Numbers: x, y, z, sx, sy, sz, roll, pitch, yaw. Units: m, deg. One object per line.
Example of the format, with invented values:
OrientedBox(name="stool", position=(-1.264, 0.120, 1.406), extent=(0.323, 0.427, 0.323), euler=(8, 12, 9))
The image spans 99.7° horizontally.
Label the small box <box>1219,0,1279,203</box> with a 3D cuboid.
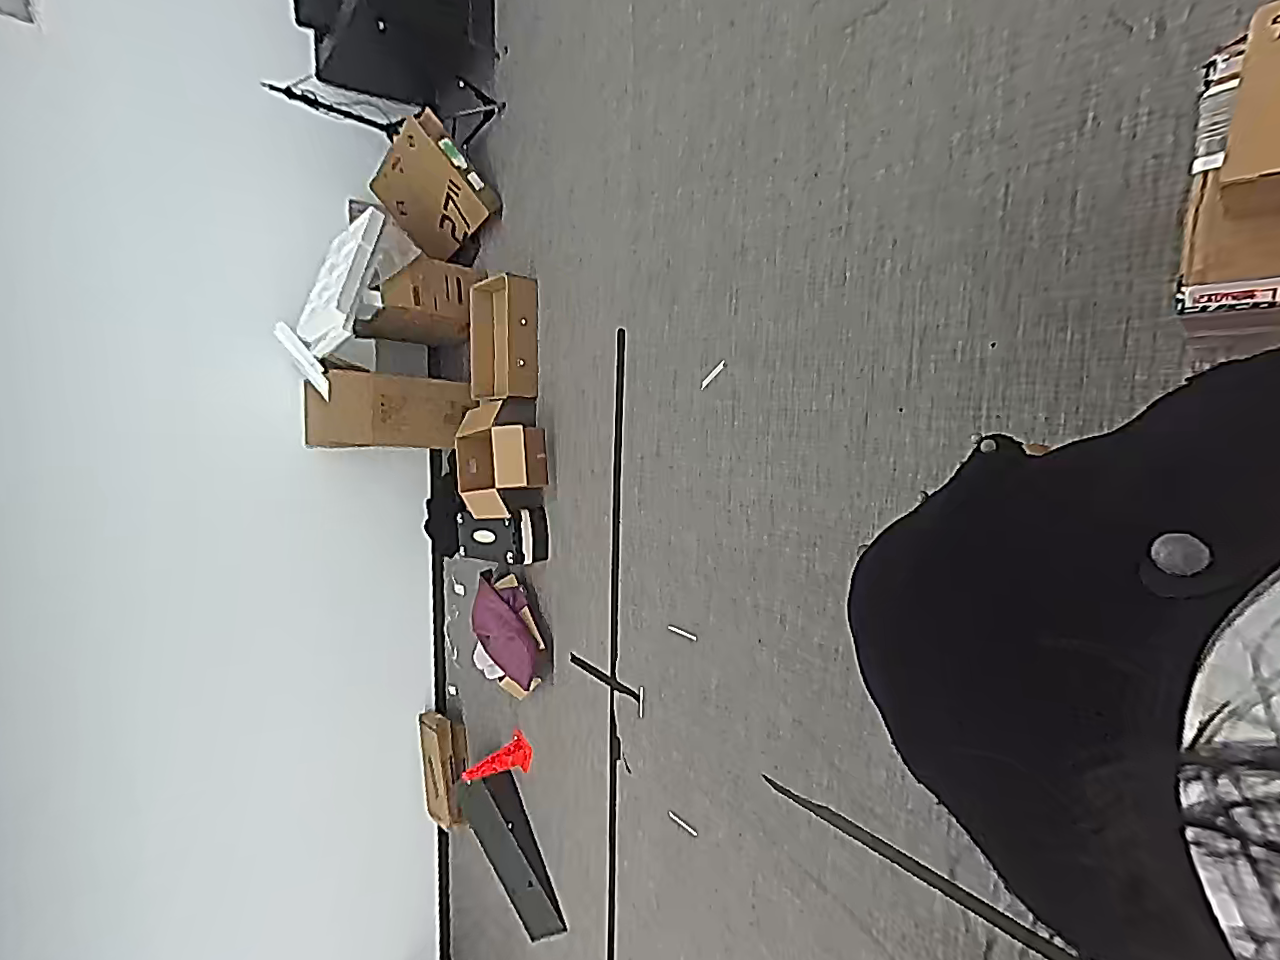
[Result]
OrientedBox(name="small box", position=(0.753, -0.408, 0.568), extent=(0.168, 0.176, 0.179), euler=(14, 106, 48))
